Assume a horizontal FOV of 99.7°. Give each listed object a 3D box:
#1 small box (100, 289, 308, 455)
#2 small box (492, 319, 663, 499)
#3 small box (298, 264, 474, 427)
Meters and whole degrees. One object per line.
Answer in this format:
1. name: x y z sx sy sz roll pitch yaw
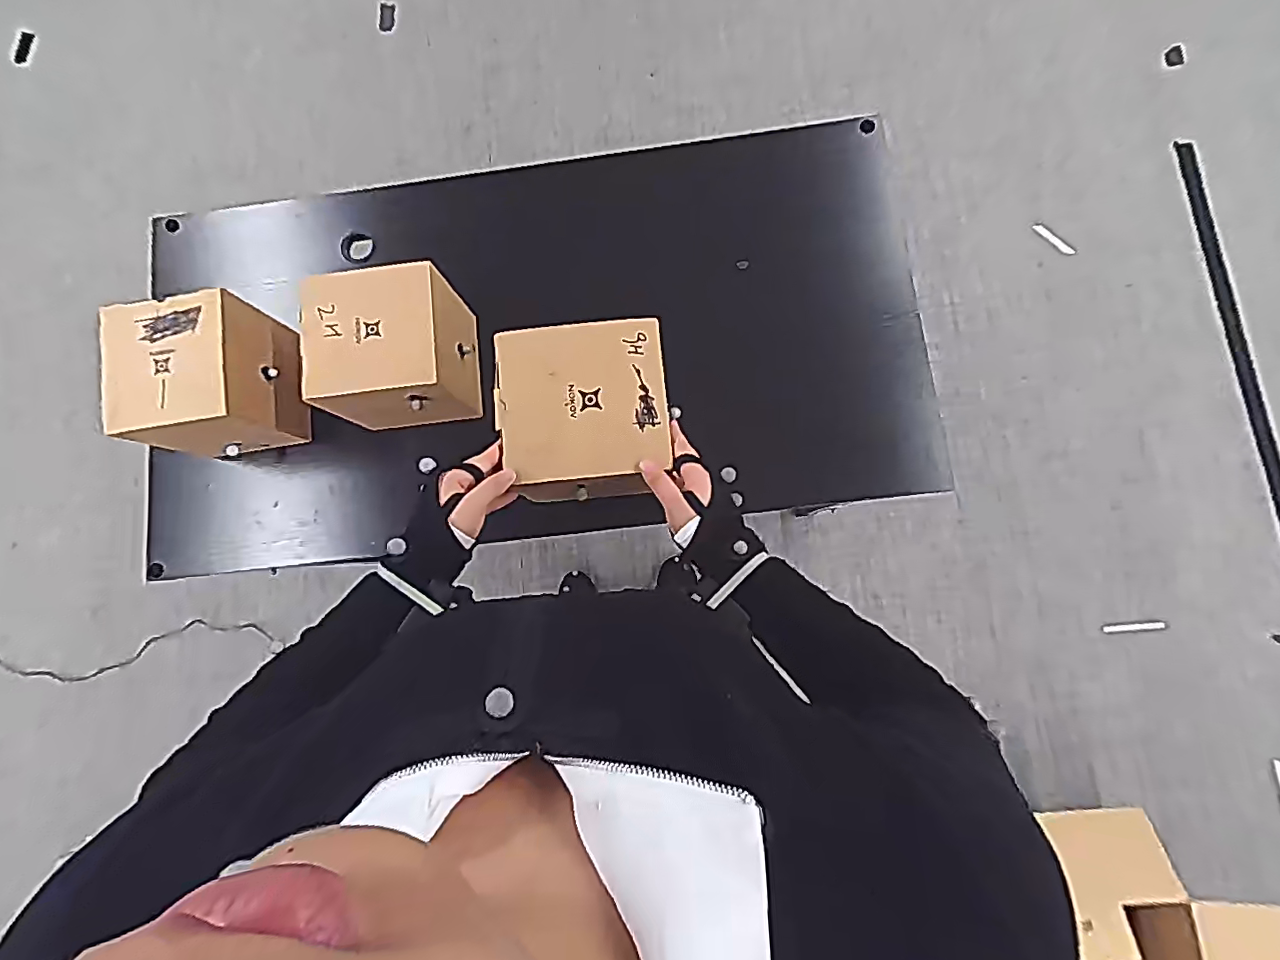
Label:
1. small box: -0.610 -0.145 0.775 0.168 0.176 0.179 -9 83 2
2. small box: -0.064 -0.072 0.643 0.179 0.176 0.168 -5 81 1
3. small box: -0.345 -0.179 0.766 0.179 0.176 0.168 -7 82 2
